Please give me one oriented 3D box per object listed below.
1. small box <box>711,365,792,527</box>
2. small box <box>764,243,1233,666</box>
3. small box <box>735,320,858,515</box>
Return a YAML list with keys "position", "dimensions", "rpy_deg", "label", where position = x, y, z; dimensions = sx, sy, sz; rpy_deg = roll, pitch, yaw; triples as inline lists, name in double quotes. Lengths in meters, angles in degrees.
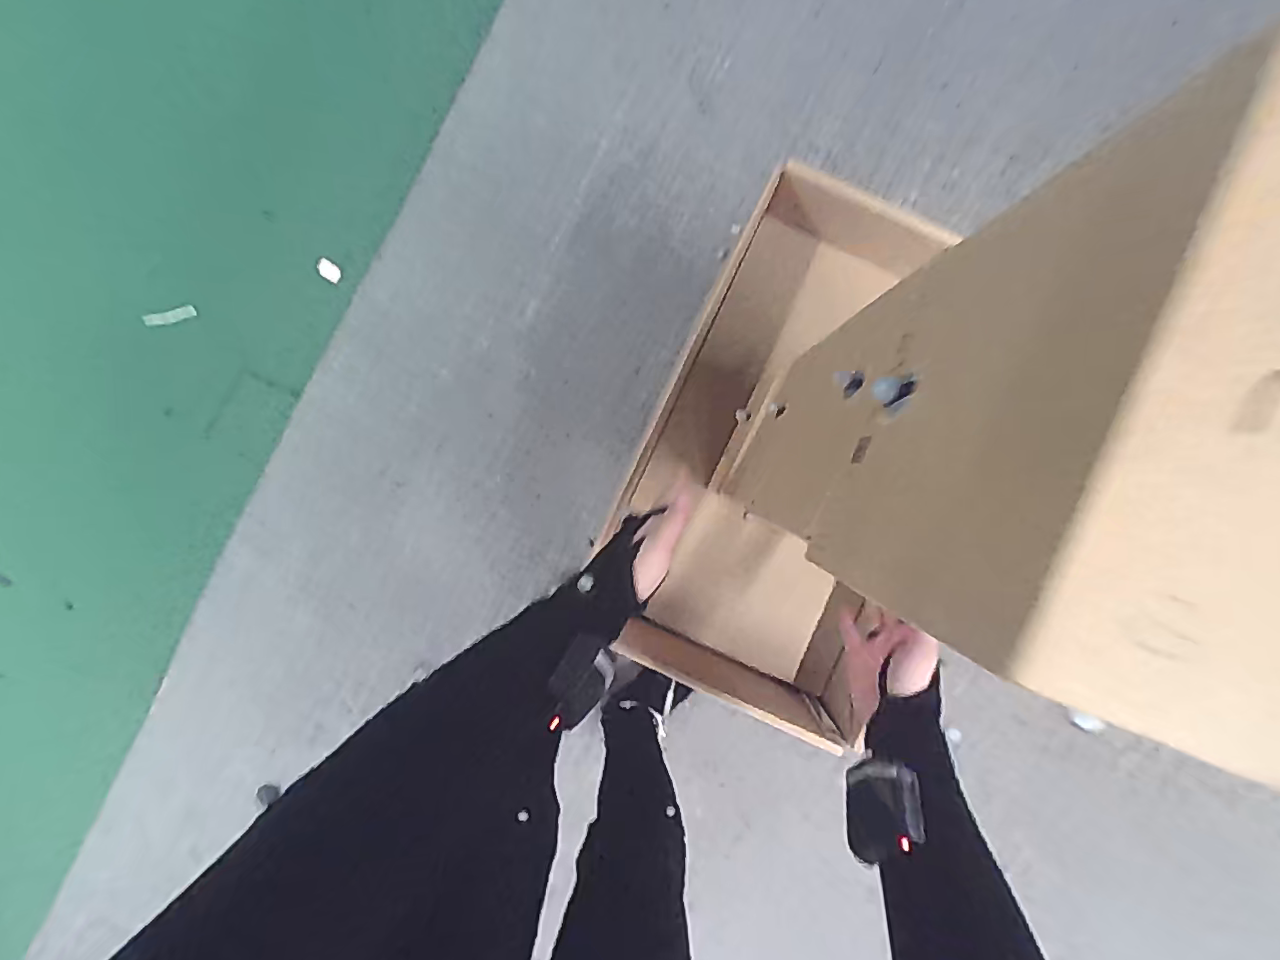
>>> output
- position: [0.205, -0.023, 0.693]
  dimensions: [0.179, 0.176, 0.168]
  rpy_deg: [26, 92, 0]
  label: "small box"
- position: [0.202, -0.015, 0.364]
  dimensions: [0.168, 0.176, 0.179]
  rpy_deg: [26, 92, 0]
  label: "small box"
- position: [0.207, -0.022, 0.529]
  dimensions: [0.168, 0.176, 0.179]
  rpy_deg: [28, 91, 0]
  label: "small box"
